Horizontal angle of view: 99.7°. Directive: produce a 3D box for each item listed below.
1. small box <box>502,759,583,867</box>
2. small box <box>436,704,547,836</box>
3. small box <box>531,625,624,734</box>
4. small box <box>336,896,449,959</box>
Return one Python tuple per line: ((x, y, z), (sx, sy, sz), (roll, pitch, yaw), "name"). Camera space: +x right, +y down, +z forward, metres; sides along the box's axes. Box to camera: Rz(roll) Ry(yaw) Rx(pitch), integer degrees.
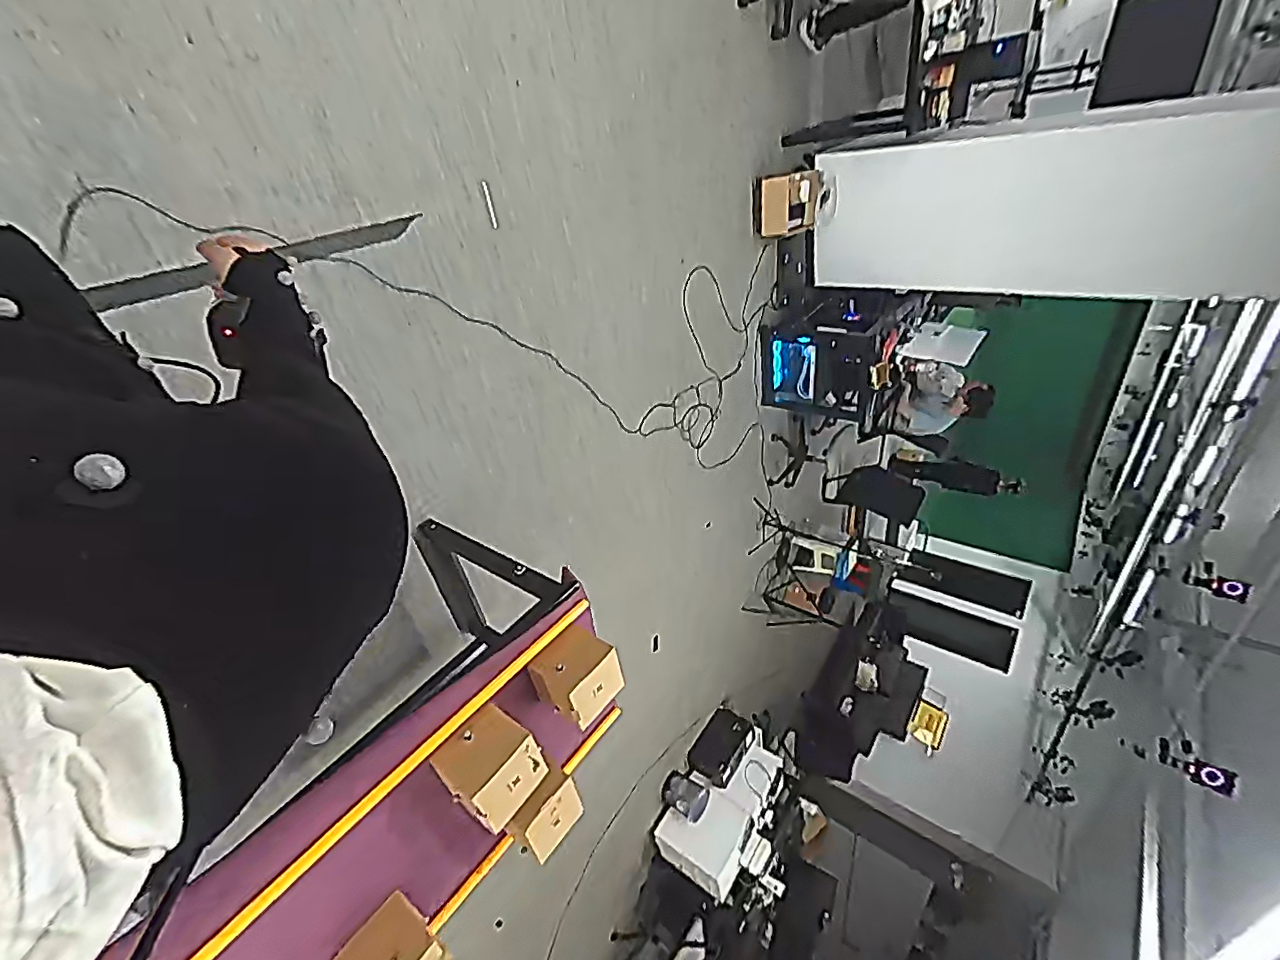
((-0.282, 0.870, 1.446), (0.168, 0.176, 0.179), (-39, 131, -39), "small box")
((-0.353, 0.674, 1.271), (0.179, 0.176, 0.168), (-40, 133, -37), "small box")
((-0.172, 0.529, 1.454), (0.179, 0.176, 0.168), (-38, 132, -36), "small box")
((-0.540, 1.078, 1.183), (0.179, 0.176, 0.168), (-40, 131, -39), "small box")
